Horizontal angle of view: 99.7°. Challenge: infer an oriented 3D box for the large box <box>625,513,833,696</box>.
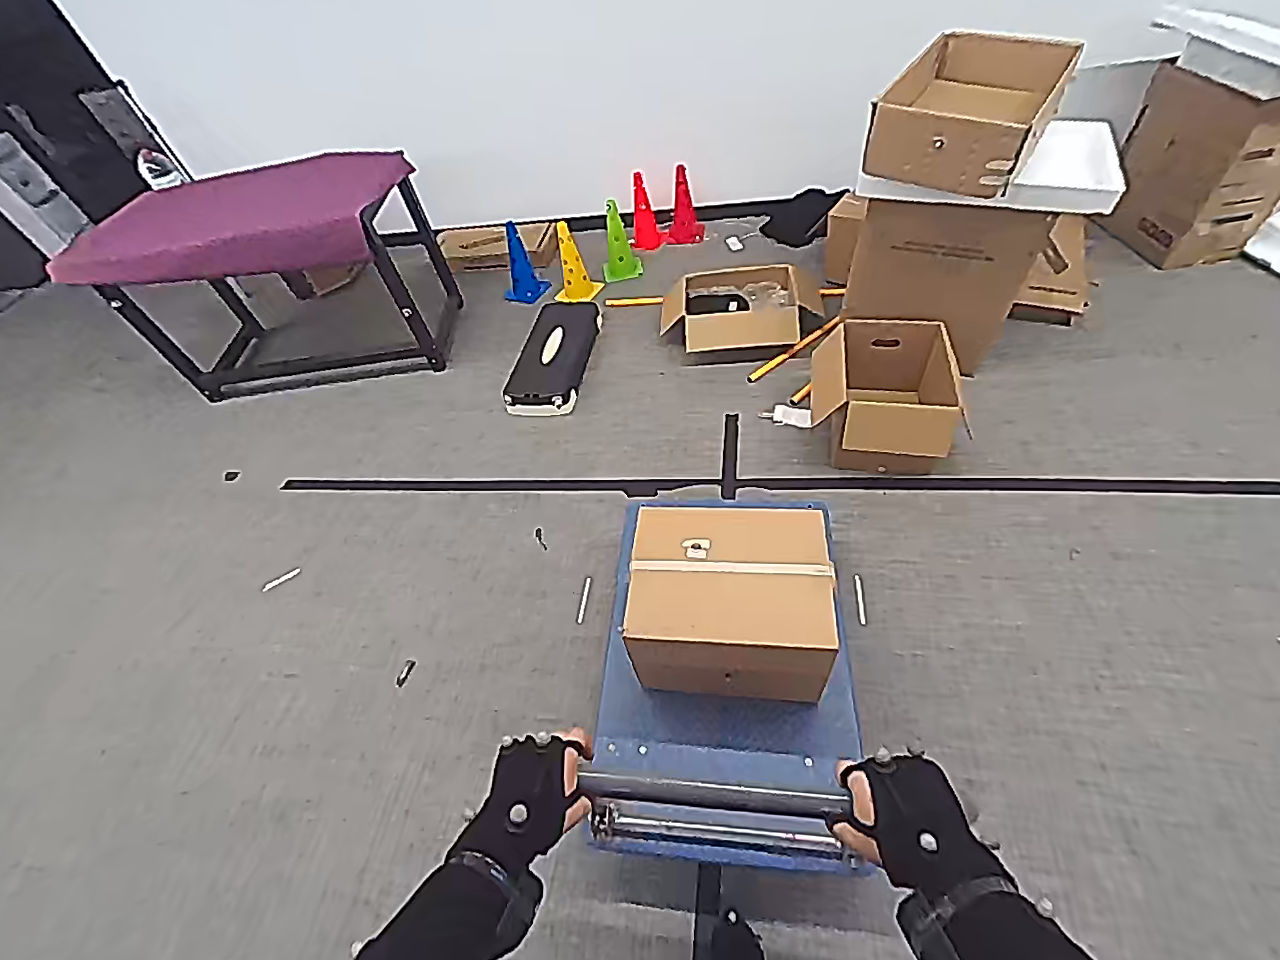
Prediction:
[{"bbox_3d":[0.202,0.290,1.242,0.408,0.320,0.320,-1,50,10],"label":"large box"}]
